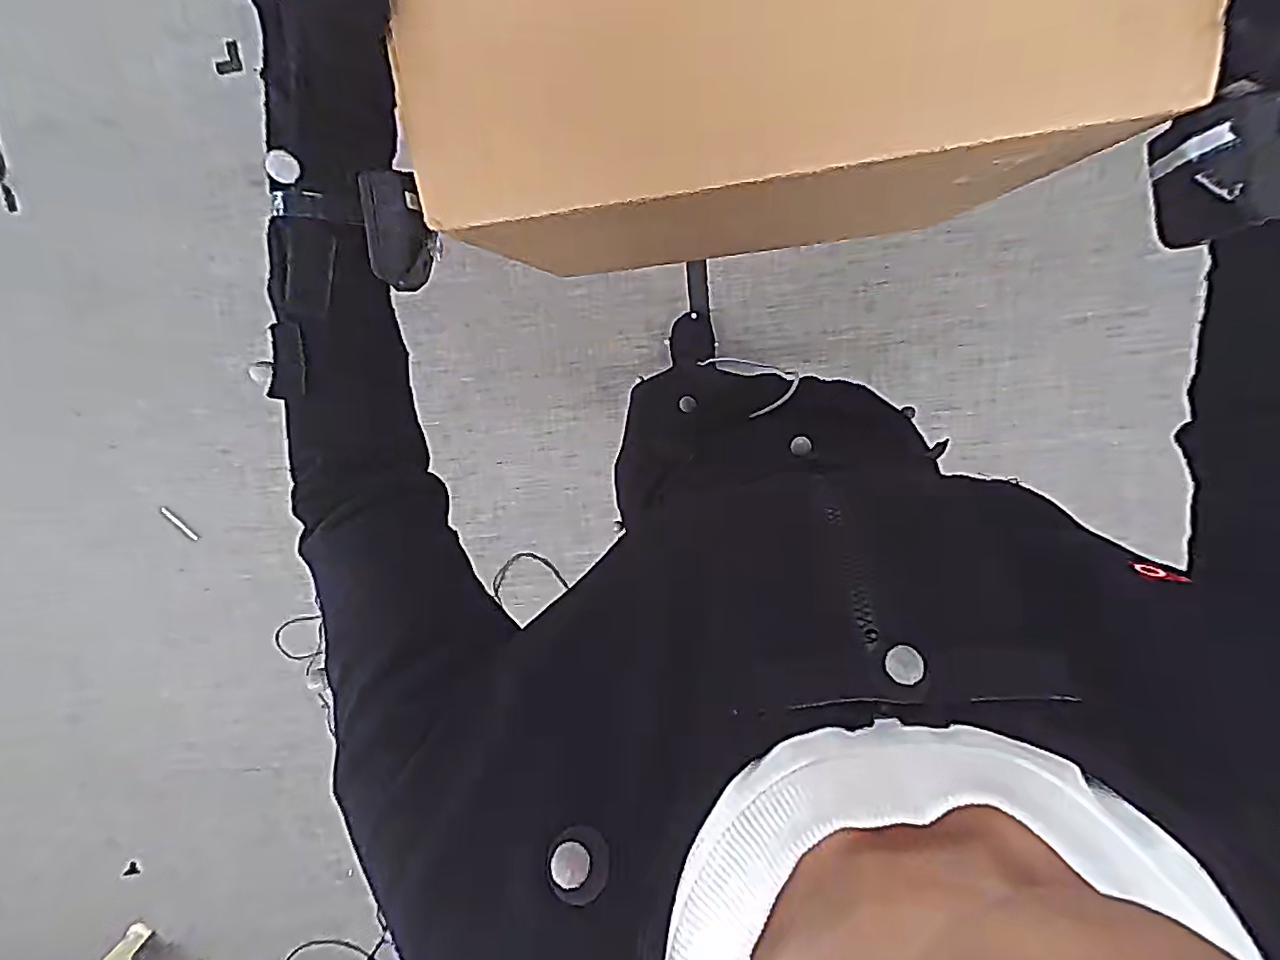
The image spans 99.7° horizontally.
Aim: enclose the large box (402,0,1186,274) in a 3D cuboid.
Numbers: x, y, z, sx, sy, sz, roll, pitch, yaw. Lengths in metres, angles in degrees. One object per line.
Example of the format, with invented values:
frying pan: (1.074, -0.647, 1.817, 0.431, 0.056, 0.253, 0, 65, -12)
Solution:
large box: (0.070, -0.361, 0.407, 0.408, 0.320, 0.320, -6, 105, 6)
